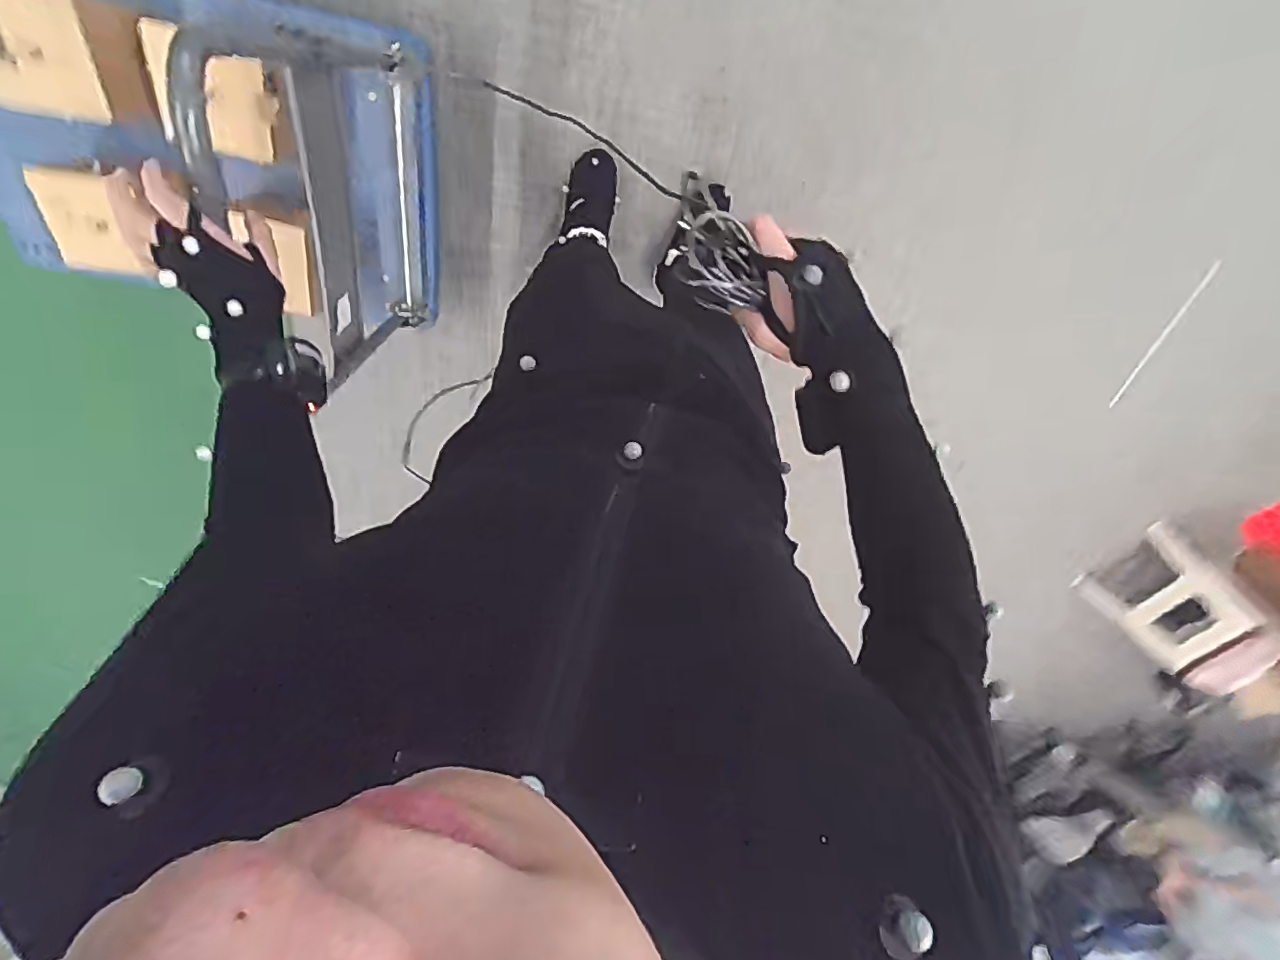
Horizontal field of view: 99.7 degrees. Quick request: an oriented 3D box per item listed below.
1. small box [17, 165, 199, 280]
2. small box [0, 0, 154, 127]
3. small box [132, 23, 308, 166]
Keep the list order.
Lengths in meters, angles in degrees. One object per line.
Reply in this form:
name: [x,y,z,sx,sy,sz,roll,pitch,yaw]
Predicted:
small box: [-1.016,-0.508,1.061,0.179,0.176,0.168,4,126,-8]
small box: [-0.973,-0.712,0.909,0.179,0.176,0.168,4,127,-10]
small box: [-0.725,-0.677,0.958,0.179,0.176,0.168,7,126,-11]
